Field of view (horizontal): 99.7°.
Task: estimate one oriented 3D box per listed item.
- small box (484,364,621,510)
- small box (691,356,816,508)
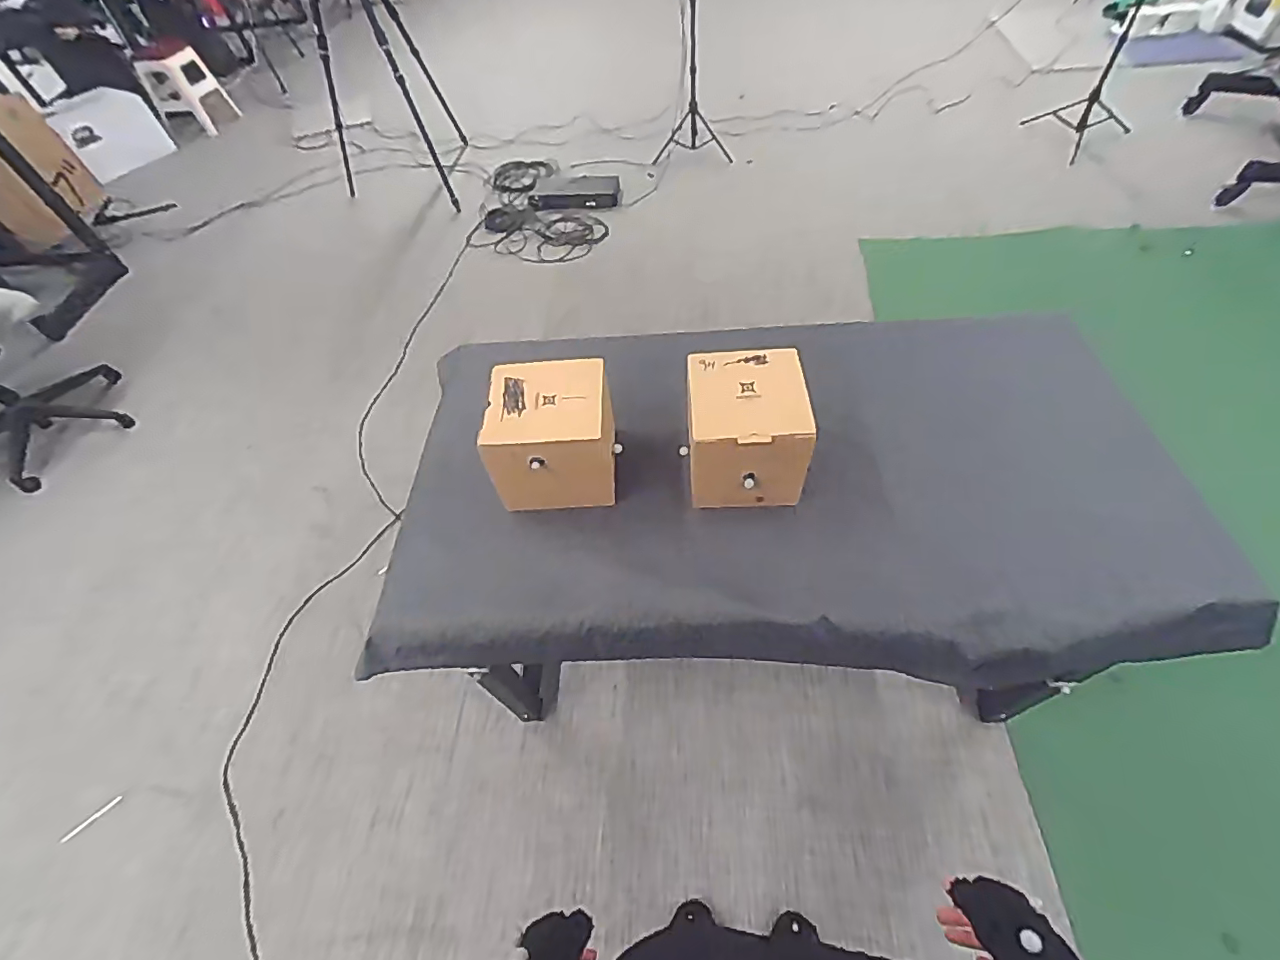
[{"bbox_3d":[-0.127,-0.063,0.863,0.179,0.176,0.168,-3,54,3],"label":"small box"},{"bbox_3d":[0.165,-0.067,0.838,0.168,0.176,0.179,-2,54,5],"label":"small box"}]
